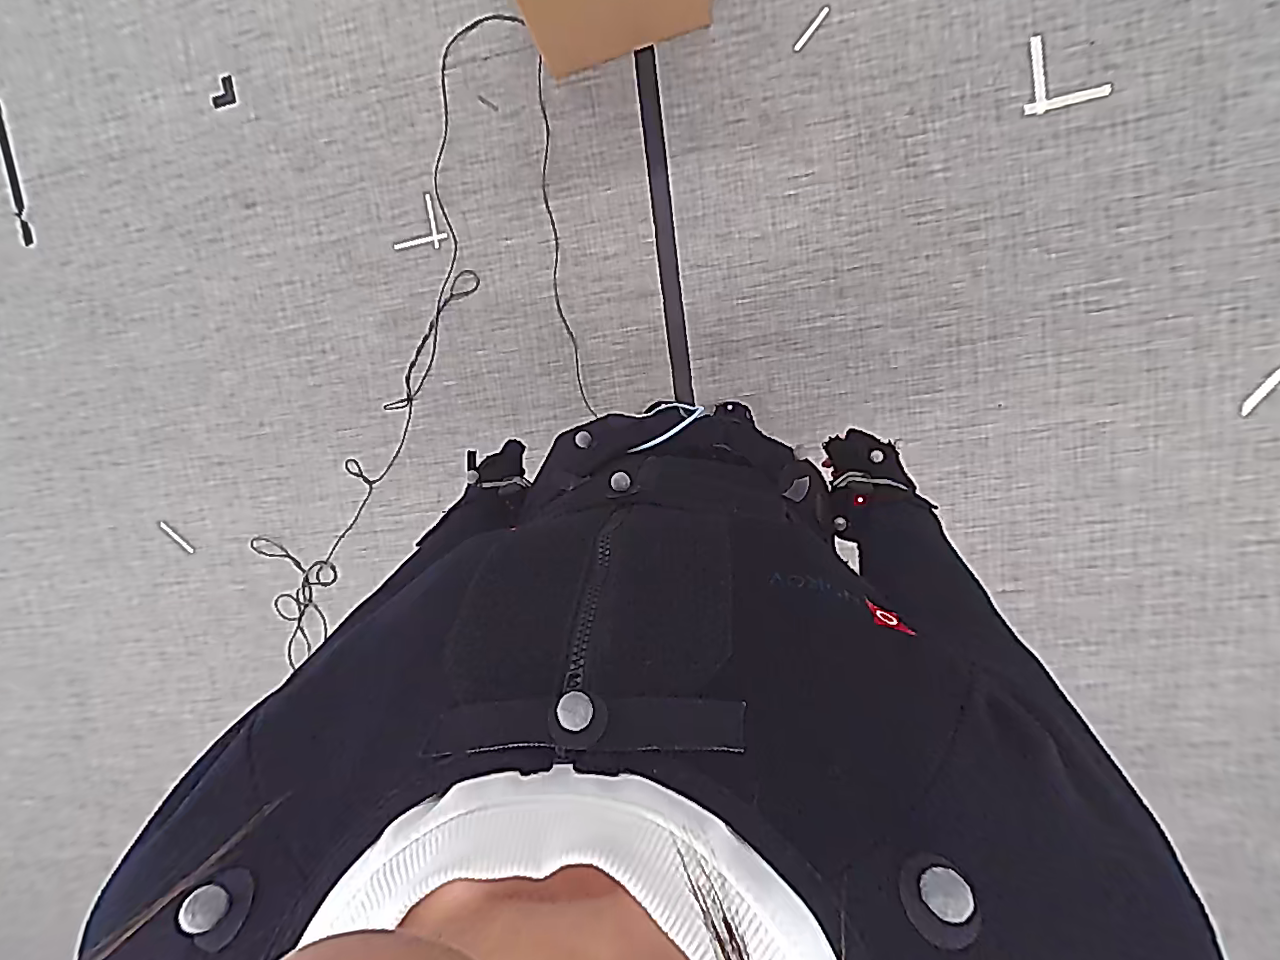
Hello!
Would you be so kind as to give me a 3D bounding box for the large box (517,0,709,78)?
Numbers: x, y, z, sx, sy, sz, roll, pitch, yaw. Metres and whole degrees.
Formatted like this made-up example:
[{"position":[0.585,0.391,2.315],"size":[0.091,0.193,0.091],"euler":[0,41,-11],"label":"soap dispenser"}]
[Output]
[{"position":[-0.082,-1.154,1.142],"size":[0.408,0.320,0.320],"euler":[-13,98,8],"label":"large box"}]
